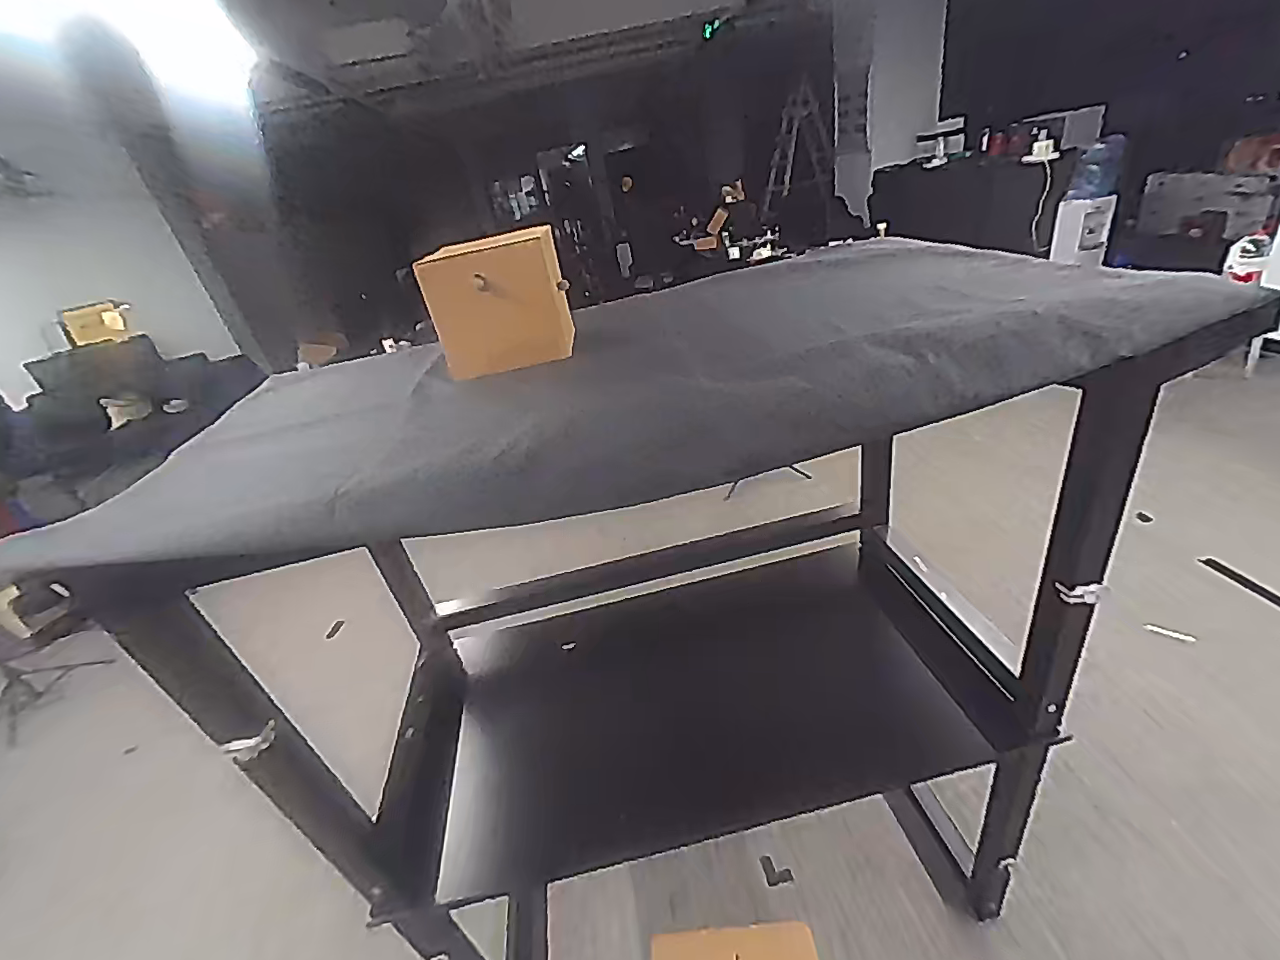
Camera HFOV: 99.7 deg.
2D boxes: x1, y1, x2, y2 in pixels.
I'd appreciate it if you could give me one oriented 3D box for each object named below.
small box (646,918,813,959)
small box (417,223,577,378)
[{"bbox_3d":[0.095,0.573,0.536,0.168,0.176,0.179,-3,37,-2],"label":"small box"},{"bbox_3d":[-0.197,-0.270,0.810,0.179,0.176,0.168,-11,30,2],"label":"small box"}]
